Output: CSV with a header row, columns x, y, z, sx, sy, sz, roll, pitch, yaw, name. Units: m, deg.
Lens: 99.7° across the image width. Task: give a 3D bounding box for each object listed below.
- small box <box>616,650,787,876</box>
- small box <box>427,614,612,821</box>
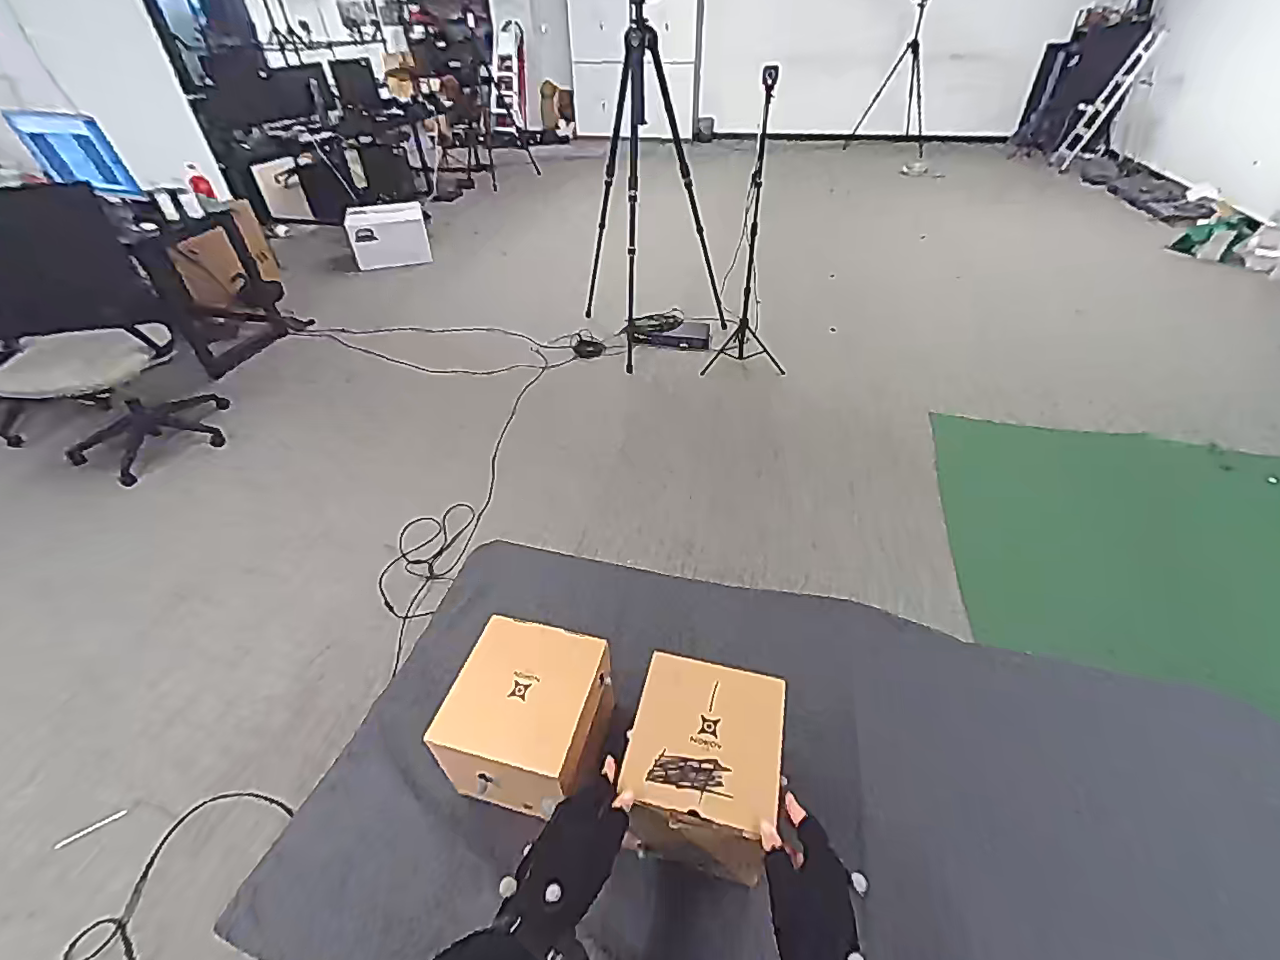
x,y,z,sx,sy,sz,roll,pitch,yaw,name
0.078,0.341,0.653,0.168,0.176,0.179,9,41,12,small box
-0.138,0.307,0.702,0.168,0.176,0.179,9,41,12,small box
